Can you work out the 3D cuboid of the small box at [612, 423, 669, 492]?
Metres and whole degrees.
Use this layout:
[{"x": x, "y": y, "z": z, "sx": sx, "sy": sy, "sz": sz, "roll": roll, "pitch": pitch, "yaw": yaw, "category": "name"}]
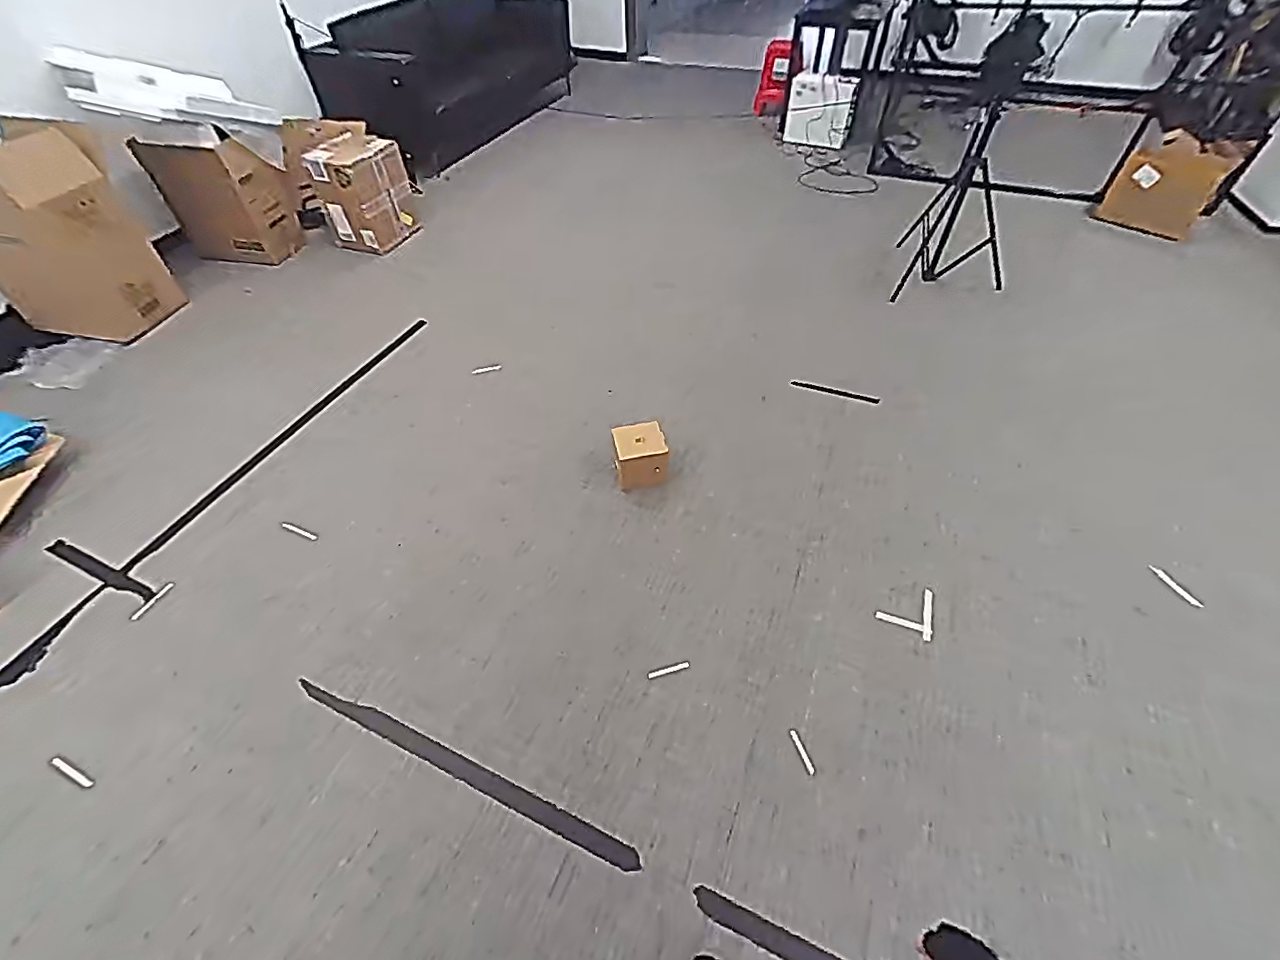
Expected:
[{"x": 0.001, "y": -0.080, "z": 1.964, "sx": 0.179, "sy": 0.176, "sz": 0.168, "roll": -12, "pitch": 48, "yaw": -7, "category": "small box"}]
